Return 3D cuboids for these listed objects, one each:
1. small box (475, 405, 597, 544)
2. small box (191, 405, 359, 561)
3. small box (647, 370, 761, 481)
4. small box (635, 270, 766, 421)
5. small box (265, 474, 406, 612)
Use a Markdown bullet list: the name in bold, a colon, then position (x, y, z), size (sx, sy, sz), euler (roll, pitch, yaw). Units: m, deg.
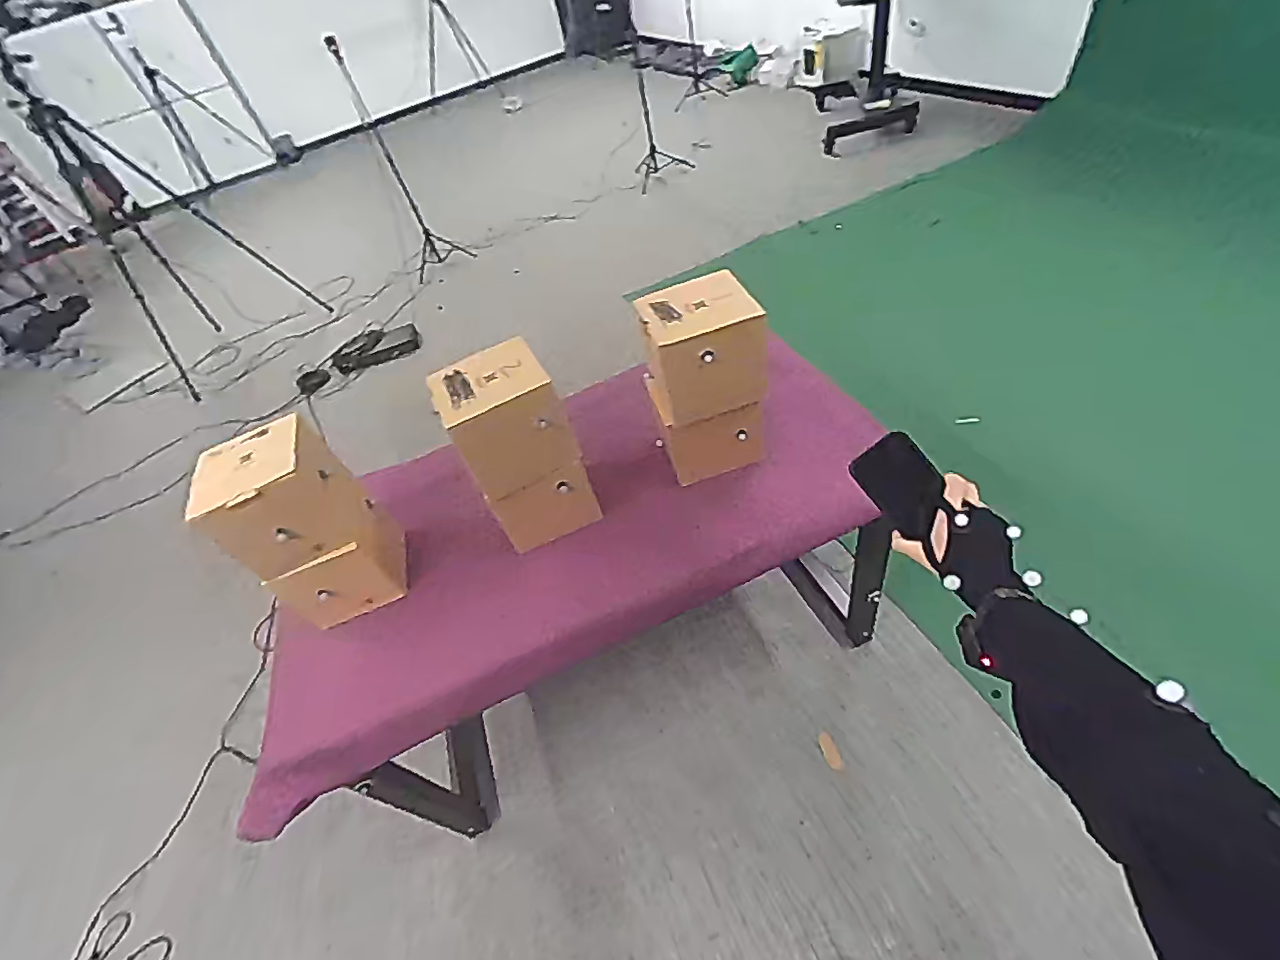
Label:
- **small box**: position (-0.192, -0.008, 1.036), size (0.179, 0.176, 0.168), euler (-23, 47, -4)
- **small box**: position (-0.596, 0.013, 0.907), size (0.168, 0.176, 0.179), euler (-25, 48, -8)
- **small box**: position (0.127, -0.126, 1.055), size (0.179, 0.176, 0.168), euler (-18, 46, 0)
- **small box**: position (0.106, -0.226, 0.927), size (0.179, 0.176, 0.168), euler (-17, 46, -1)
- **small box**: position (-0.559, 0.126, 1.020), size (0.168, 0.176, 0.179), euler (-22, 47, -4)
